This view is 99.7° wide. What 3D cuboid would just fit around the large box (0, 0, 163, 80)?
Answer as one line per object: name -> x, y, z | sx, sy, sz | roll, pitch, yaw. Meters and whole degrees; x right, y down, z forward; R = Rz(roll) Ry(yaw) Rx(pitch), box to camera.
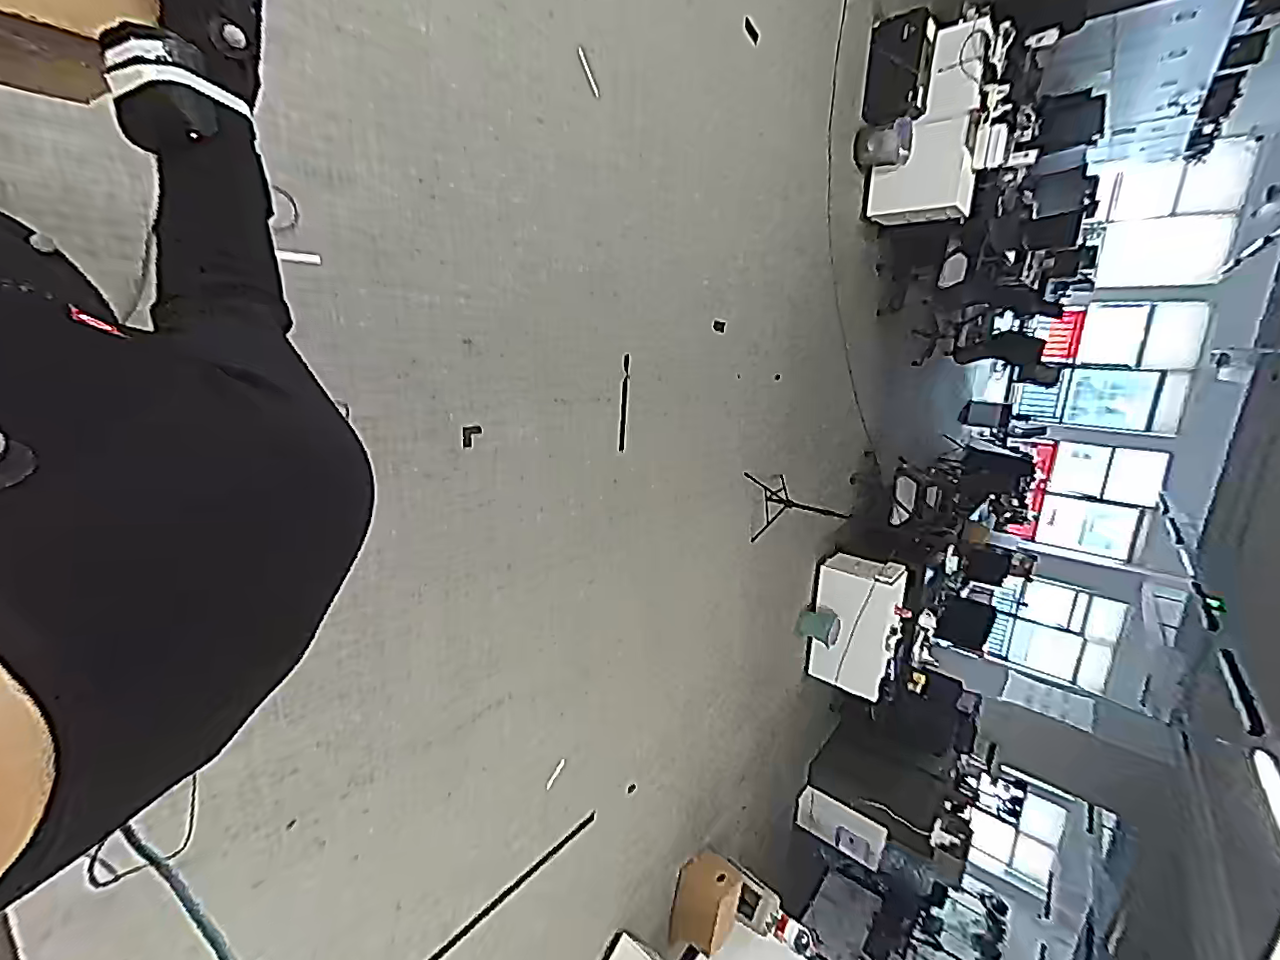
large box -> -0.573, -0.468, 0.278 | 0.408, 0.320, 0.320 | -18, 123, -50
